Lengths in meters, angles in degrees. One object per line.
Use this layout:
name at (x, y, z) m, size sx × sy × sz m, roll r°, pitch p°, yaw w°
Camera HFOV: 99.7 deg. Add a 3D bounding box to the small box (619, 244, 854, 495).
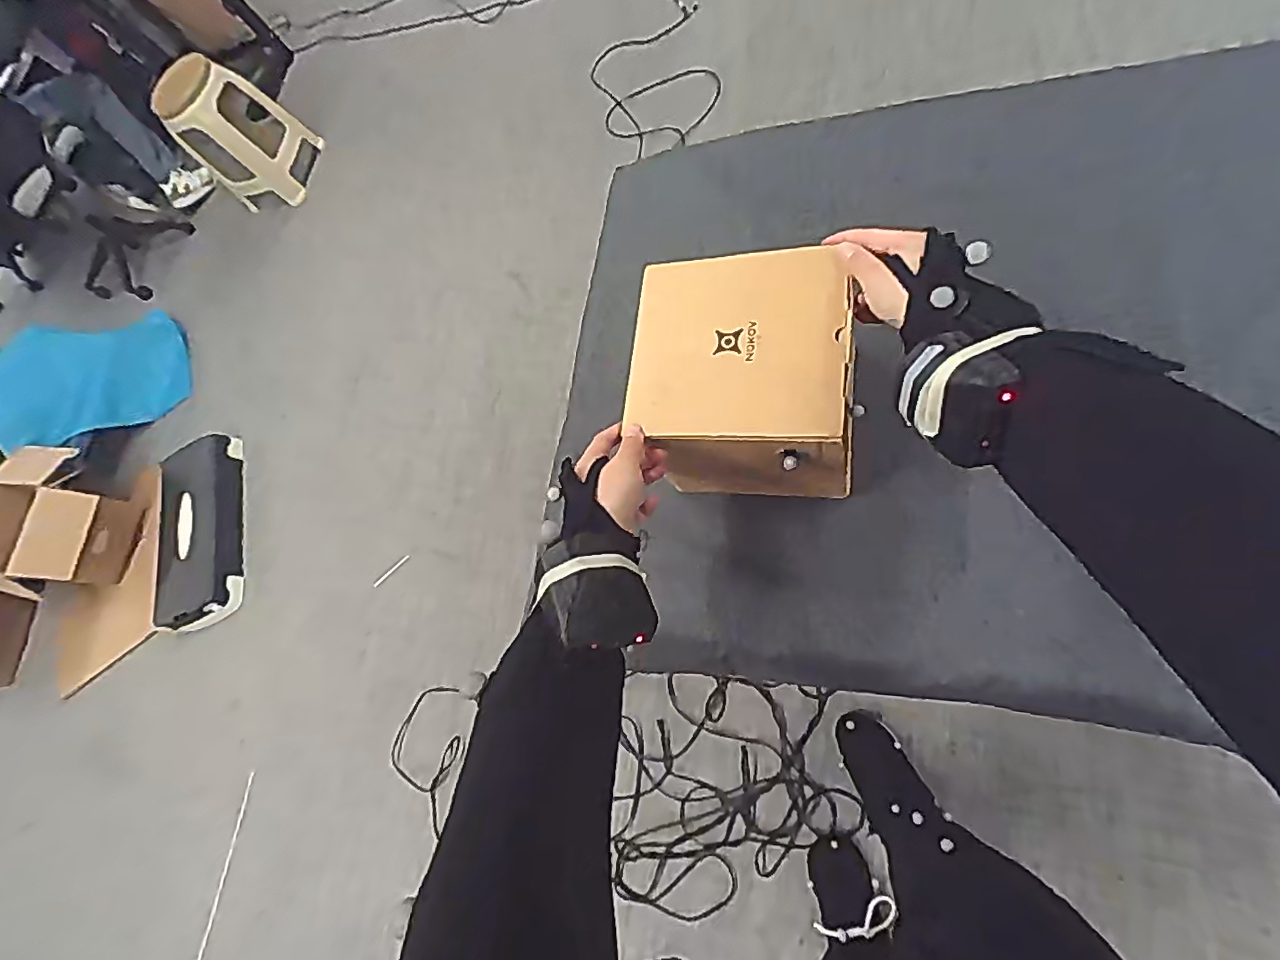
small box at (0.101, -0.087, 0.504) m, size 0.179 × 0.176 × 0.168 m, roll 3°, pitch 74°, yaw 21°
